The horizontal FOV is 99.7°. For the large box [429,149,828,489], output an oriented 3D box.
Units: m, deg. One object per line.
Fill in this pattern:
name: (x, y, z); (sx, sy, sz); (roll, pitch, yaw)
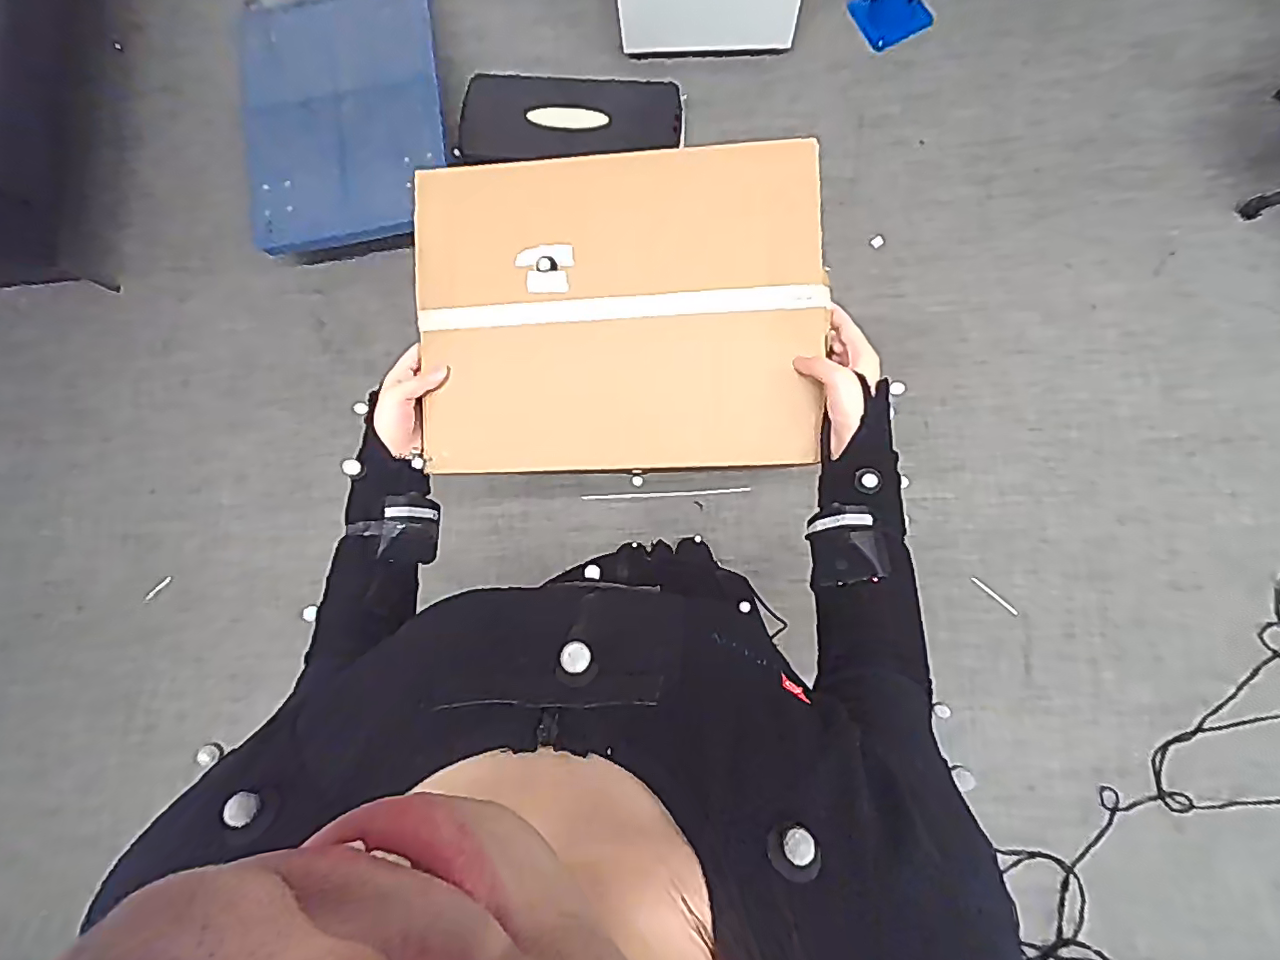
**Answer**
large box: (-0.005, -0.200, 0.701); (0.408, 0.320, 0.320); (9, 105, 9)
